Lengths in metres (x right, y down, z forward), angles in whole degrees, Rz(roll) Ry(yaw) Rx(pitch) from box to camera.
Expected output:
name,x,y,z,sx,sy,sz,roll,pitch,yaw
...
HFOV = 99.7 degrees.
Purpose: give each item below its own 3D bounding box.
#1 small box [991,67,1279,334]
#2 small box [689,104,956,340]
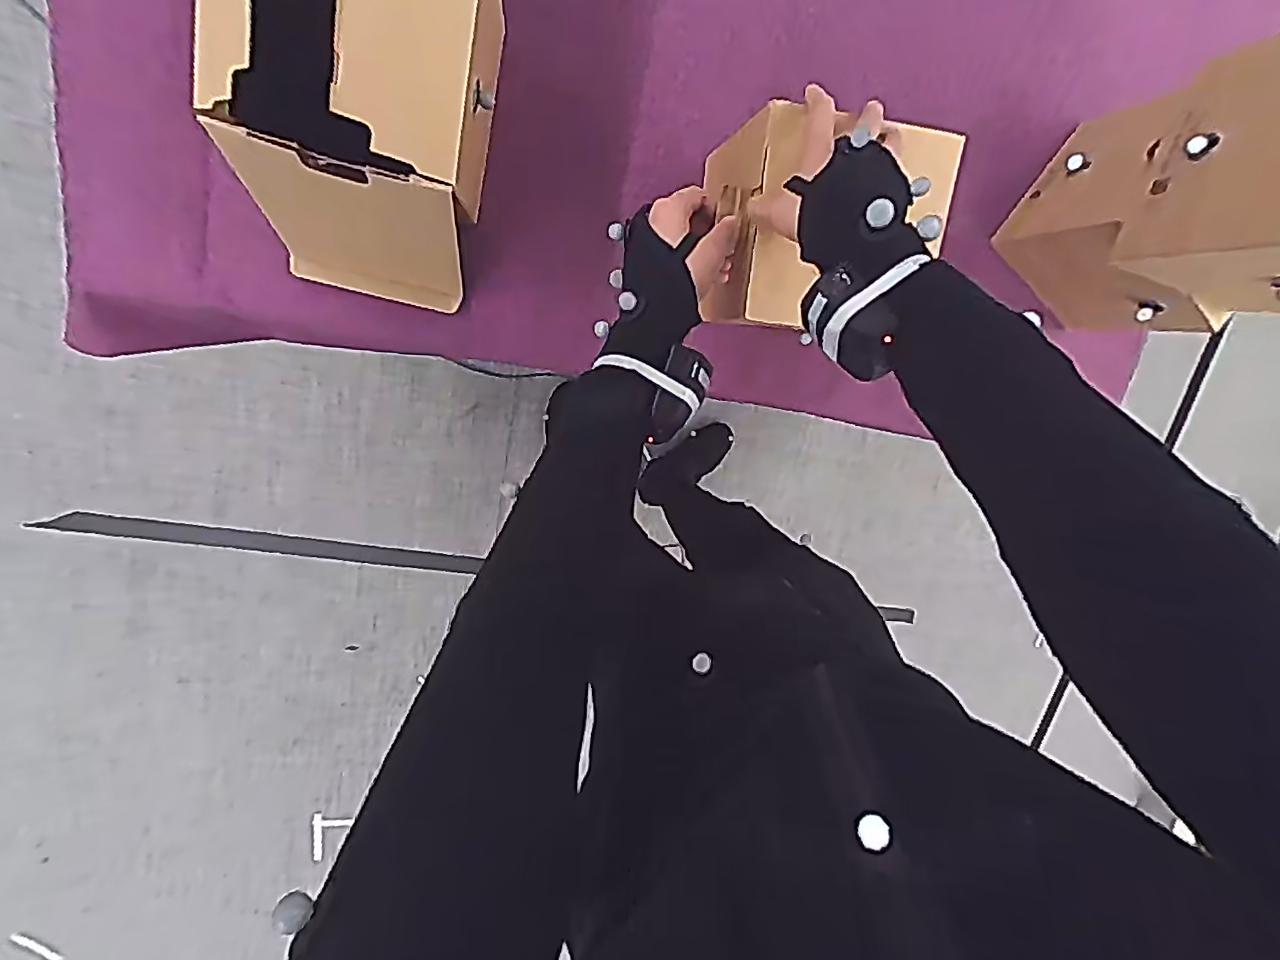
name,x,y,z,sx,sy,sz,roll,pitch,yaw
small box,0.542,-0.281,0.588,0.179,0.176,0.168,34,98,-18
small box,0.157,-0.232,0.530,0.179,0.176,0.168,2,107,-12
